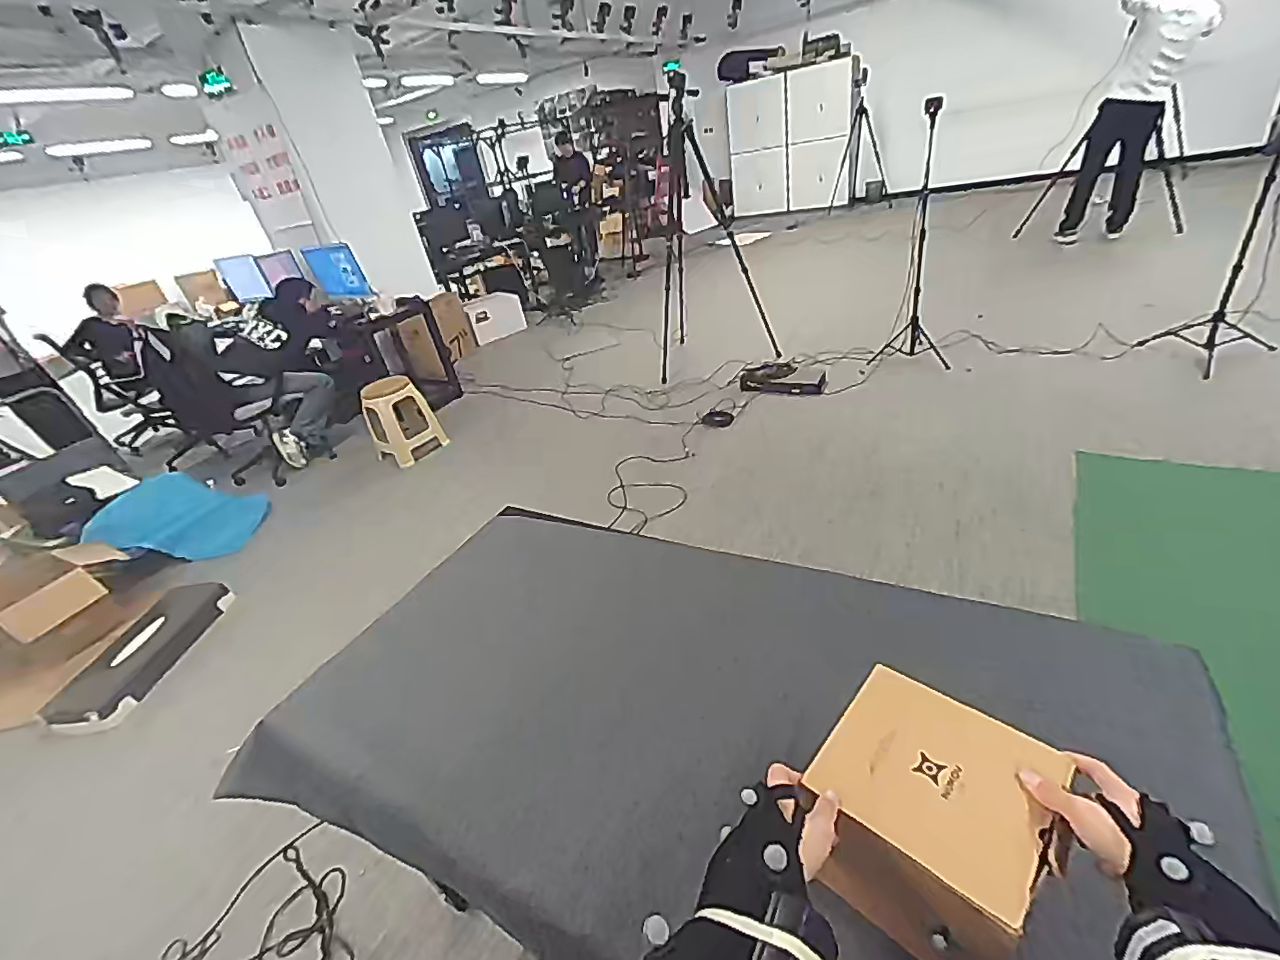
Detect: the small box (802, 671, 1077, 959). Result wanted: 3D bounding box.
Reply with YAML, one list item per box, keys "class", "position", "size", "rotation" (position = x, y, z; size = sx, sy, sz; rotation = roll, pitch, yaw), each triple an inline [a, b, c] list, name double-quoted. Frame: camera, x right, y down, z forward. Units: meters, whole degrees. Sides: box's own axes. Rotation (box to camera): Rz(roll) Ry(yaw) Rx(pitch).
- class: "small box"
  position: [0.277, 0.331, 0.521]
  size: [0.179, 0.176, 0.168]
  rotation: [19, 41, 42]
